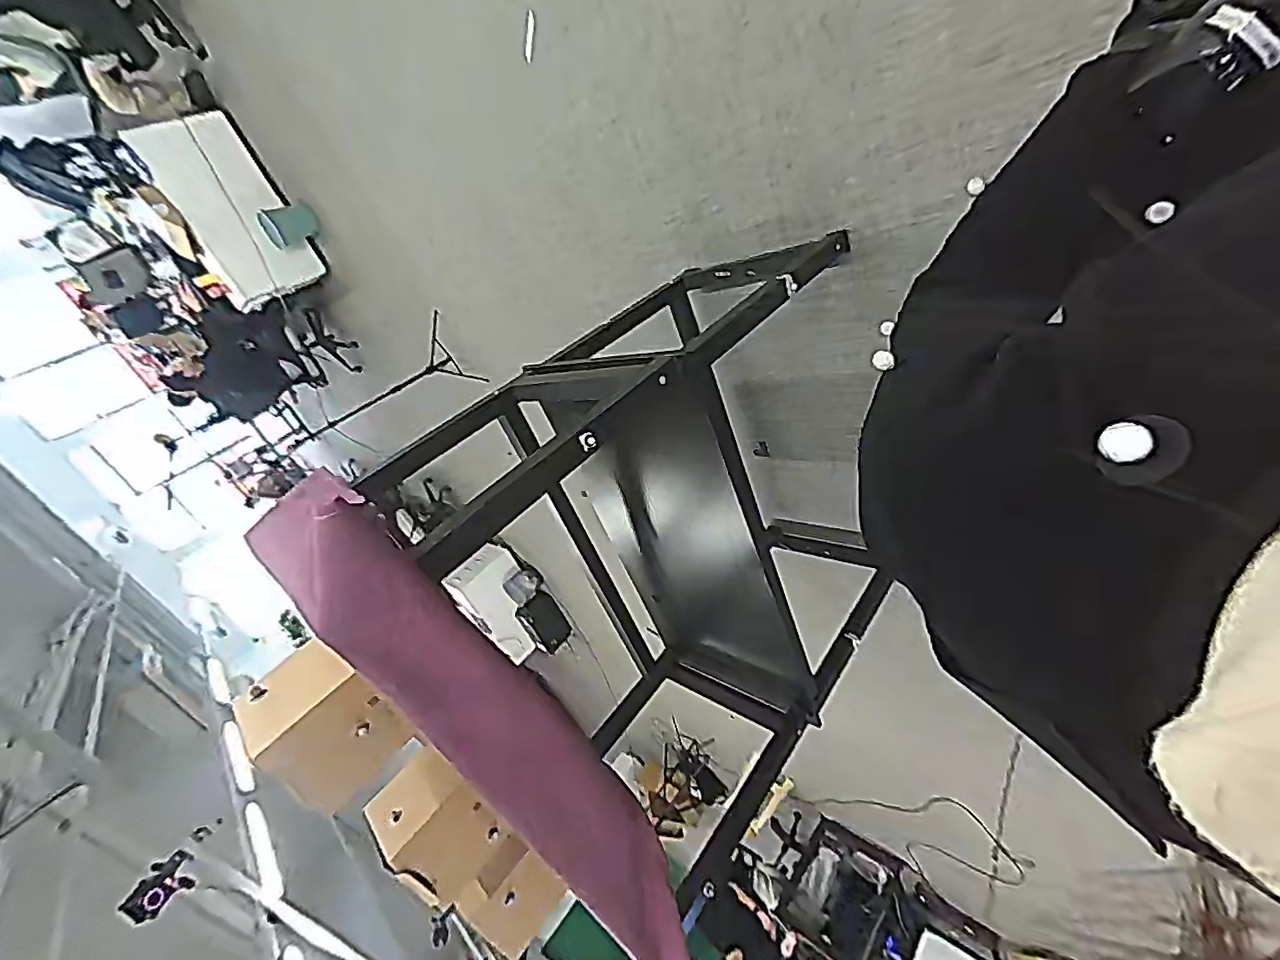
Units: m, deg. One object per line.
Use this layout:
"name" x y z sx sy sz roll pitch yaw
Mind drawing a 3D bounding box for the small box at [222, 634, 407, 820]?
"small box" -0.501 0.371 0.846 0.179 0.176 0.168 13 136 44

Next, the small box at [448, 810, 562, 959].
"small box" -0.301 0.853 1.152 0.168 0.176 0.179 6 130 49

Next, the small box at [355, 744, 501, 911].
"small box" -0.389 0.636 1.013 0.179 0.176 0.168 4 128 51
